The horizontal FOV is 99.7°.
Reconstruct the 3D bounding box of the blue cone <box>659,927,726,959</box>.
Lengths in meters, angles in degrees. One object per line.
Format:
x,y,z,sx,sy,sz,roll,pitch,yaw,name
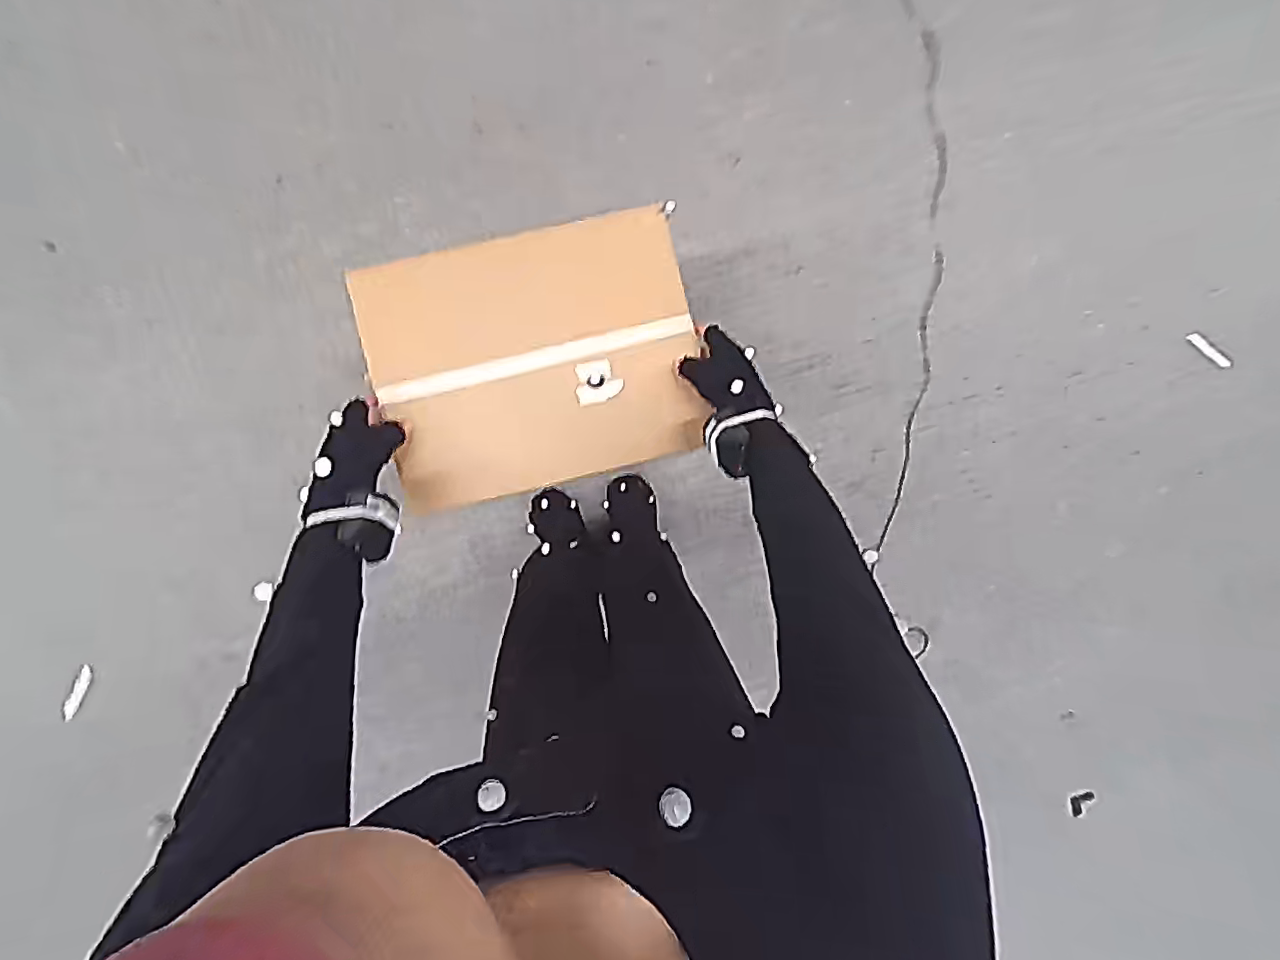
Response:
0.158,1.414,1.412,0.193,0.380,0.192,6,100,-3,blue cone

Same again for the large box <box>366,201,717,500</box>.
-0.133,-0.172,0.850,0.408,0.320,0.320,-14,93,-3,large box
